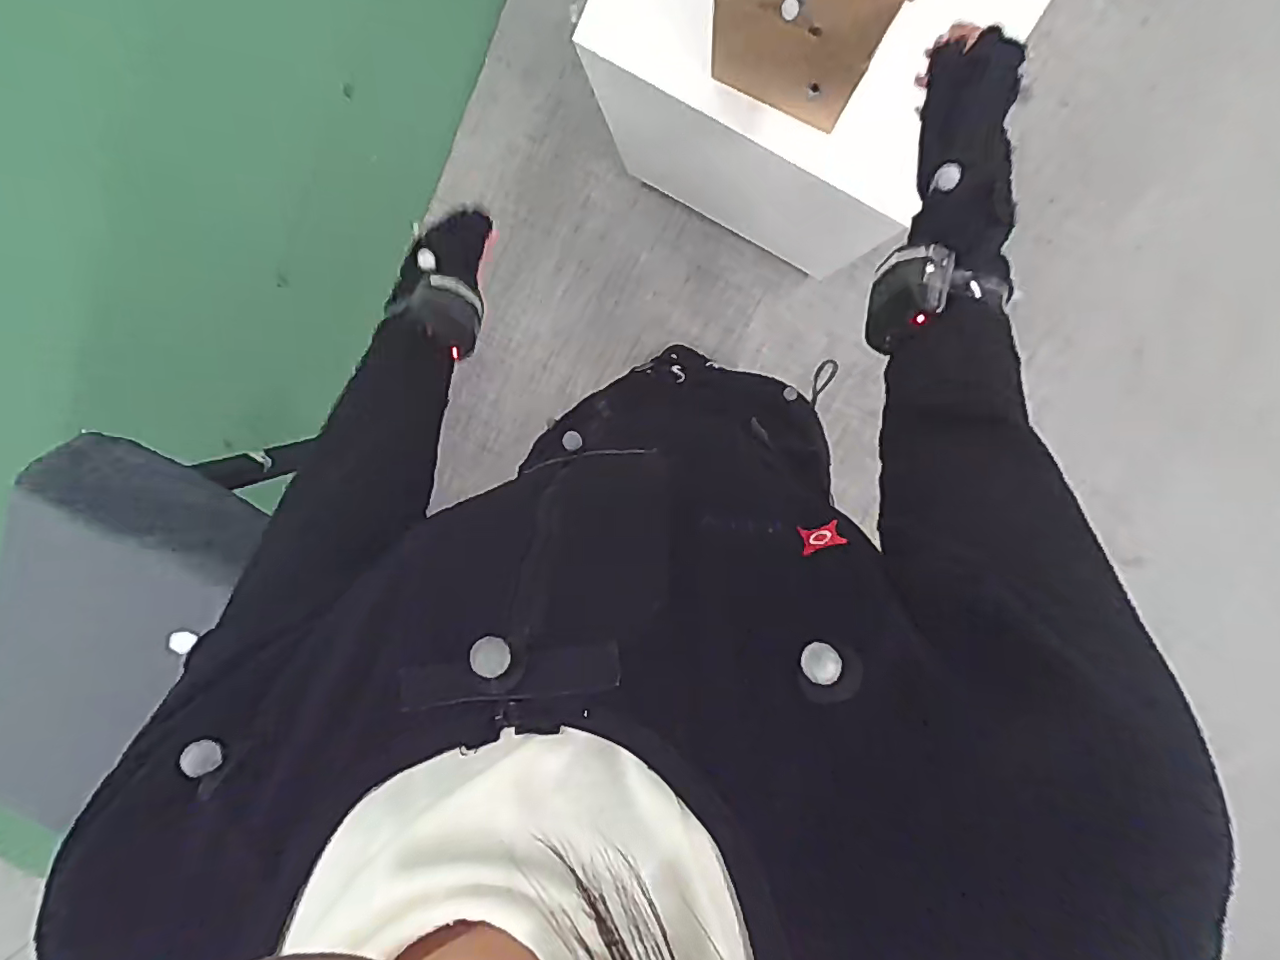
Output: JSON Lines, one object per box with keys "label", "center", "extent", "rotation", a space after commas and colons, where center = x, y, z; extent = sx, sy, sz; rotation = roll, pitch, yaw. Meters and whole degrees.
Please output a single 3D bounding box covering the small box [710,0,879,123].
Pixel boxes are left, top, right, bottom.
{"label": "small box", "center": [0.191, -0.530, 0.591], "extent": [0.179, 0.176, 0.168], "rotation": [26, 104, 2]}
